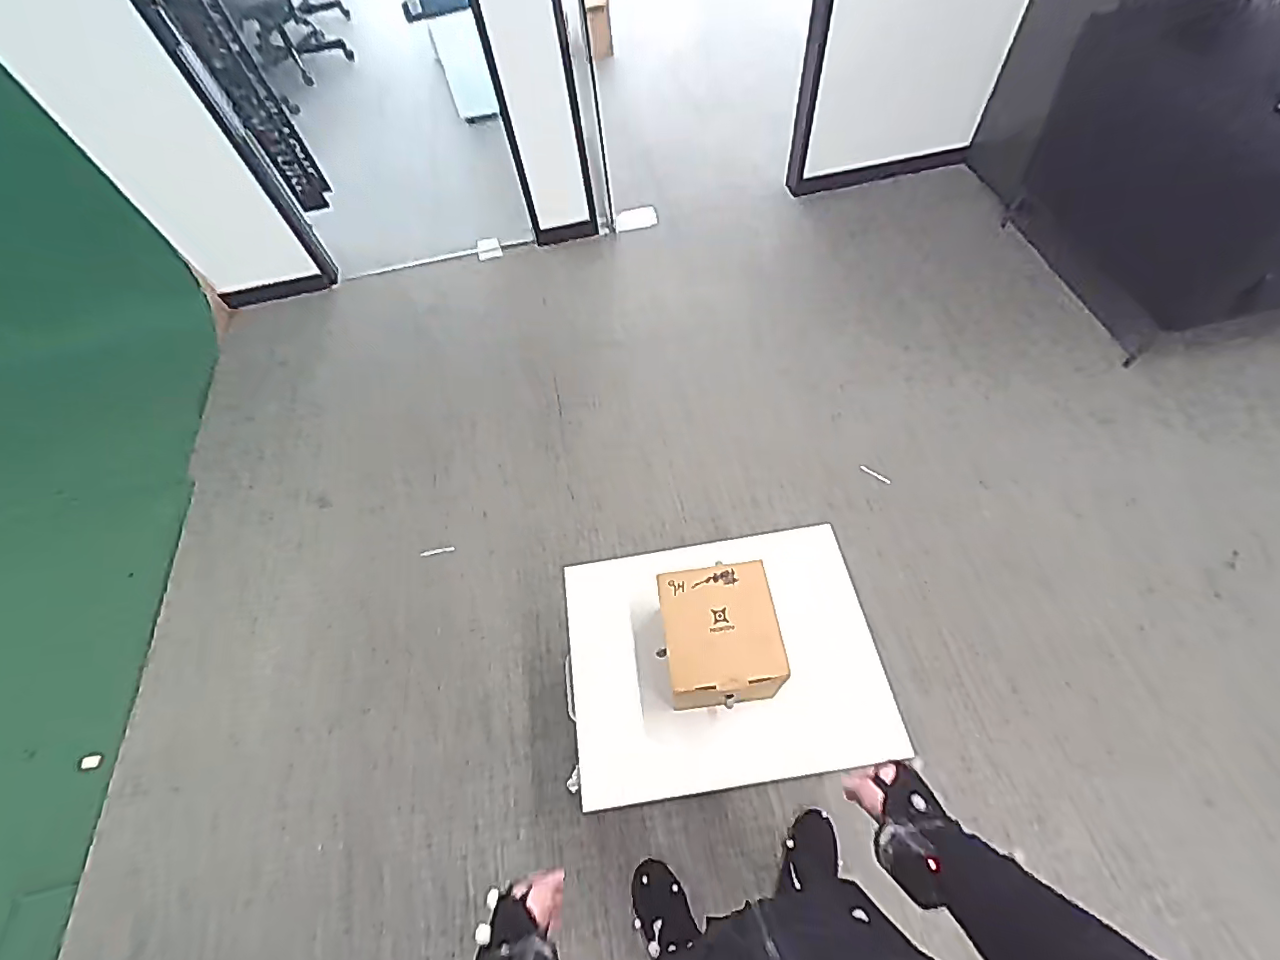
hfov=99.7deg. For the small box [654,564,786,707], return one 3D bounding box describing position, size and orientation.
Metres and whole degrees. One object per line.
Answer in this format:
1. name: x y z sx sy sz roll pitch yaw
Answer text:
1. small box: 0.116 0.252 0.854 0.168 0.176 0.179 -7 59 -3
